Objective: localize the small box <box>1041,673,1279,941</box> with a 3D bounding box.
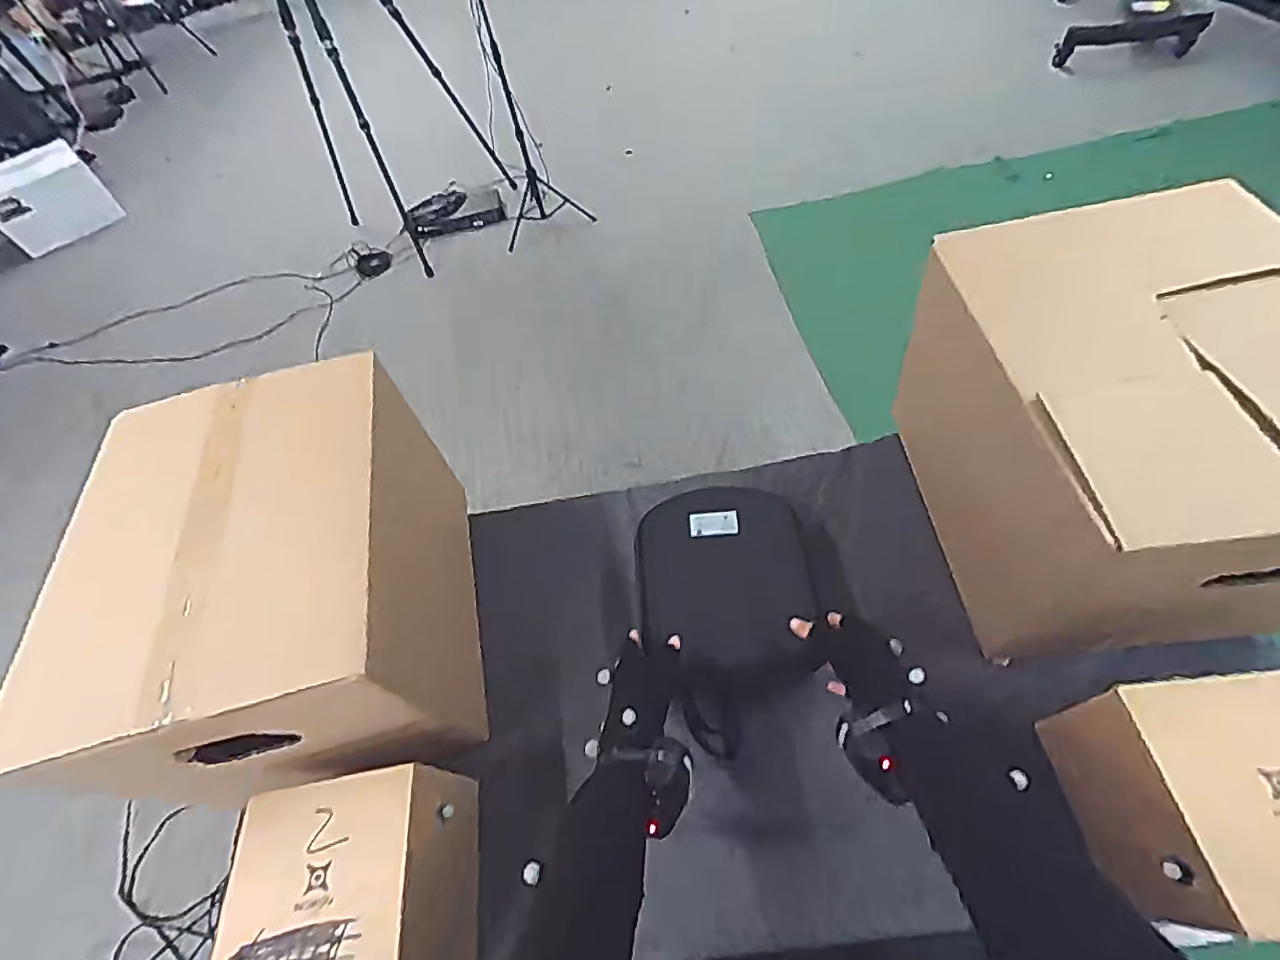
[{"bbox_3d":[0.515,0.290,0.489,0.168,0.176,0.179,-8,56,5],"label":"small box"}]
